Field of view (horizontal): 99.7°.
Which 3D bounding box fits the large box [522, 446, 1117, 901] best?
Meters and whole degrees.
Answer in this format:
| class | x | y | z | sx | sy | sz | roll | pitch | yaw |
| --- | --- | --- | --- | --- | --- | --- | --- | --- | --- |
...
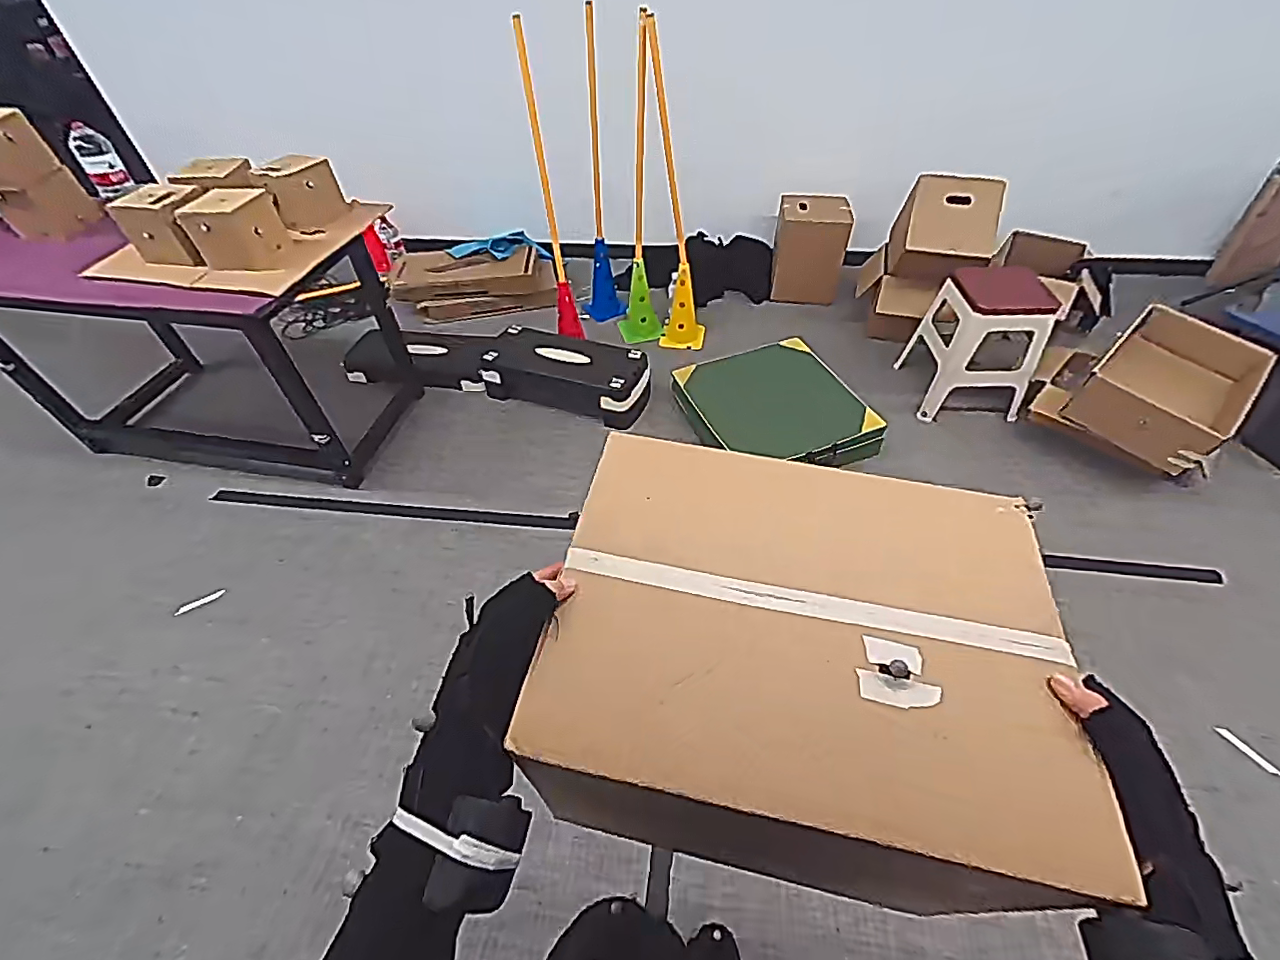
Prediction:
| class | x | y | z | sx | sy | sz | roll | pitch | yaw |
| --- | --- | --- | --- | --- | --- | --- | --- | --- | --- |
| large box | 0.133 | 0.203 | 0.567 | 0.408 | 0.320 | 0.320 | 10 | 52 | 7 |
